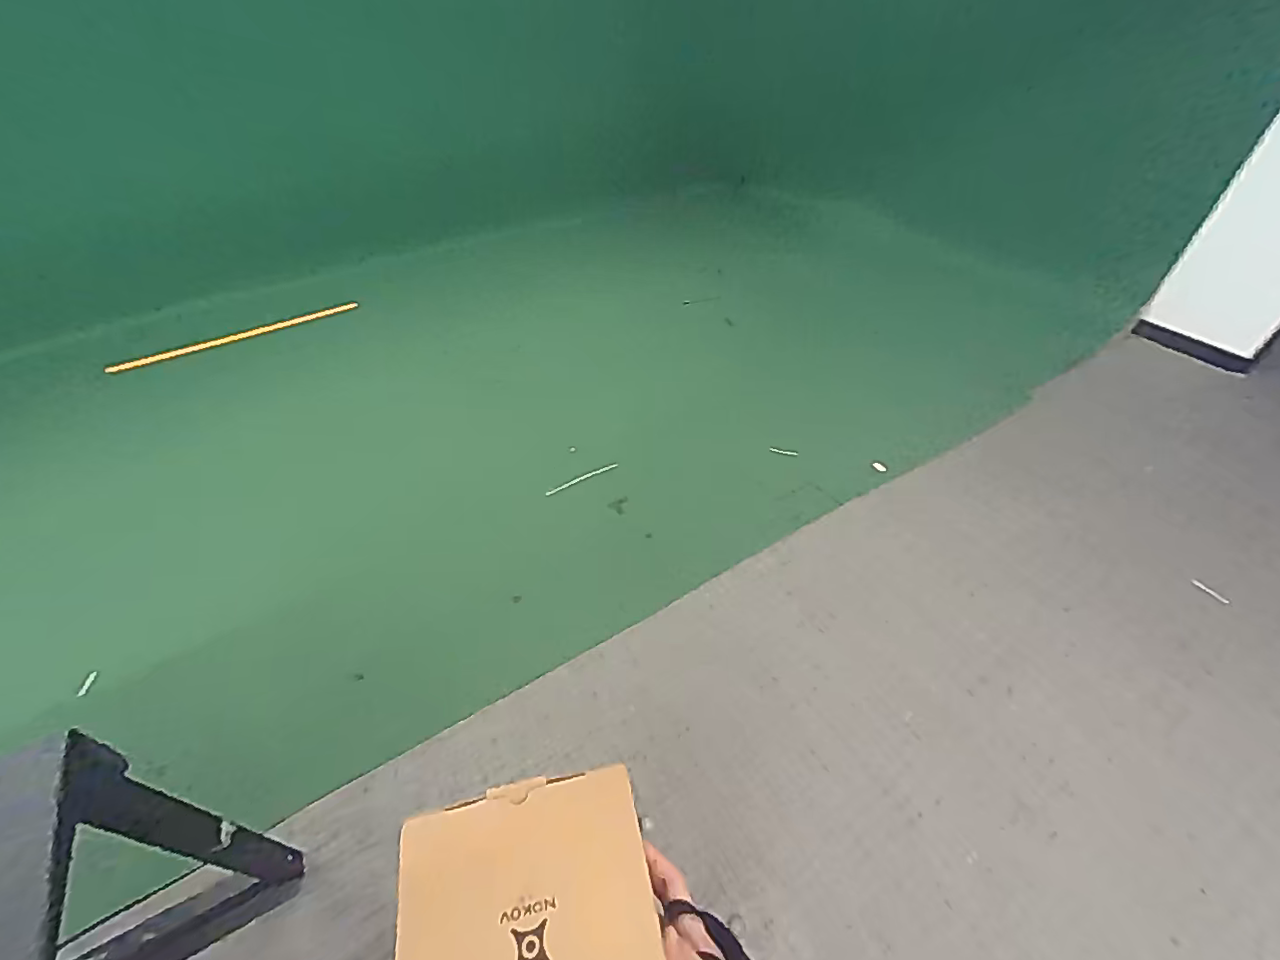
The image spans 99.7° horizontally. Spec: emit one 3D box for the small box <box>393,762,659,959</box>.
[{"bbox_3d":[-0.075,0.346,0.405,0.168,0.176,0.179,-9,46,-11],"label":"small box"}]
